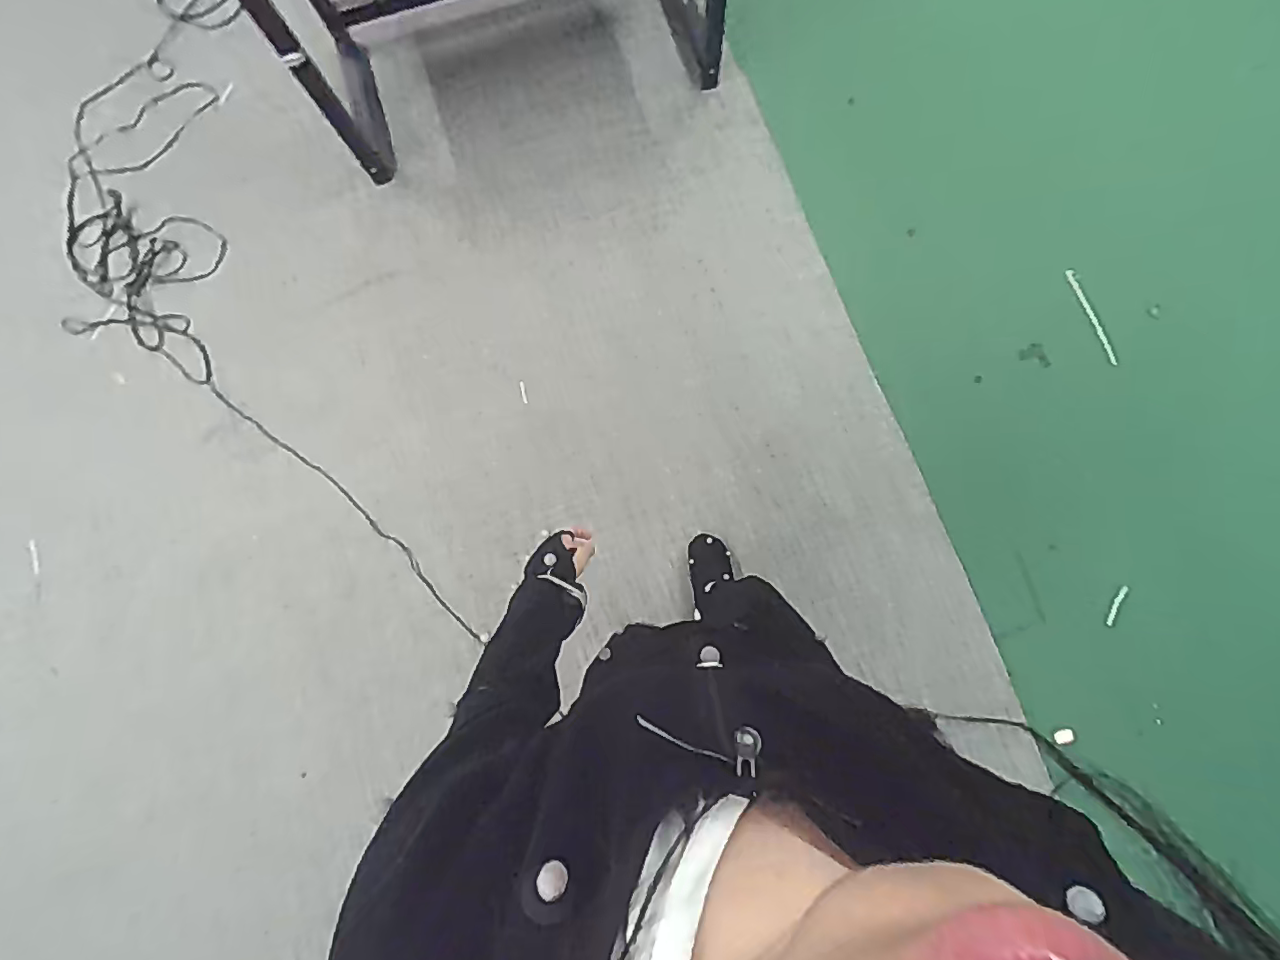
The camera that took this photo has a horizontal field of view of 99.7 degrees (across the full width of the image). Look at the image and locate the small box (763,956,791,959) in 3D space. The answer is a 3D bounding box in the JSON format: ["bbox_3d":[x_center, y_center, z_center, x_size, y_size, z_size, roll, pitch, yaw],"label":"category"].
[{"bbox_3d":[0.307,1.238,1.234,0.168,0.176,0.179,-11,79,1],"label":"small box"}]
